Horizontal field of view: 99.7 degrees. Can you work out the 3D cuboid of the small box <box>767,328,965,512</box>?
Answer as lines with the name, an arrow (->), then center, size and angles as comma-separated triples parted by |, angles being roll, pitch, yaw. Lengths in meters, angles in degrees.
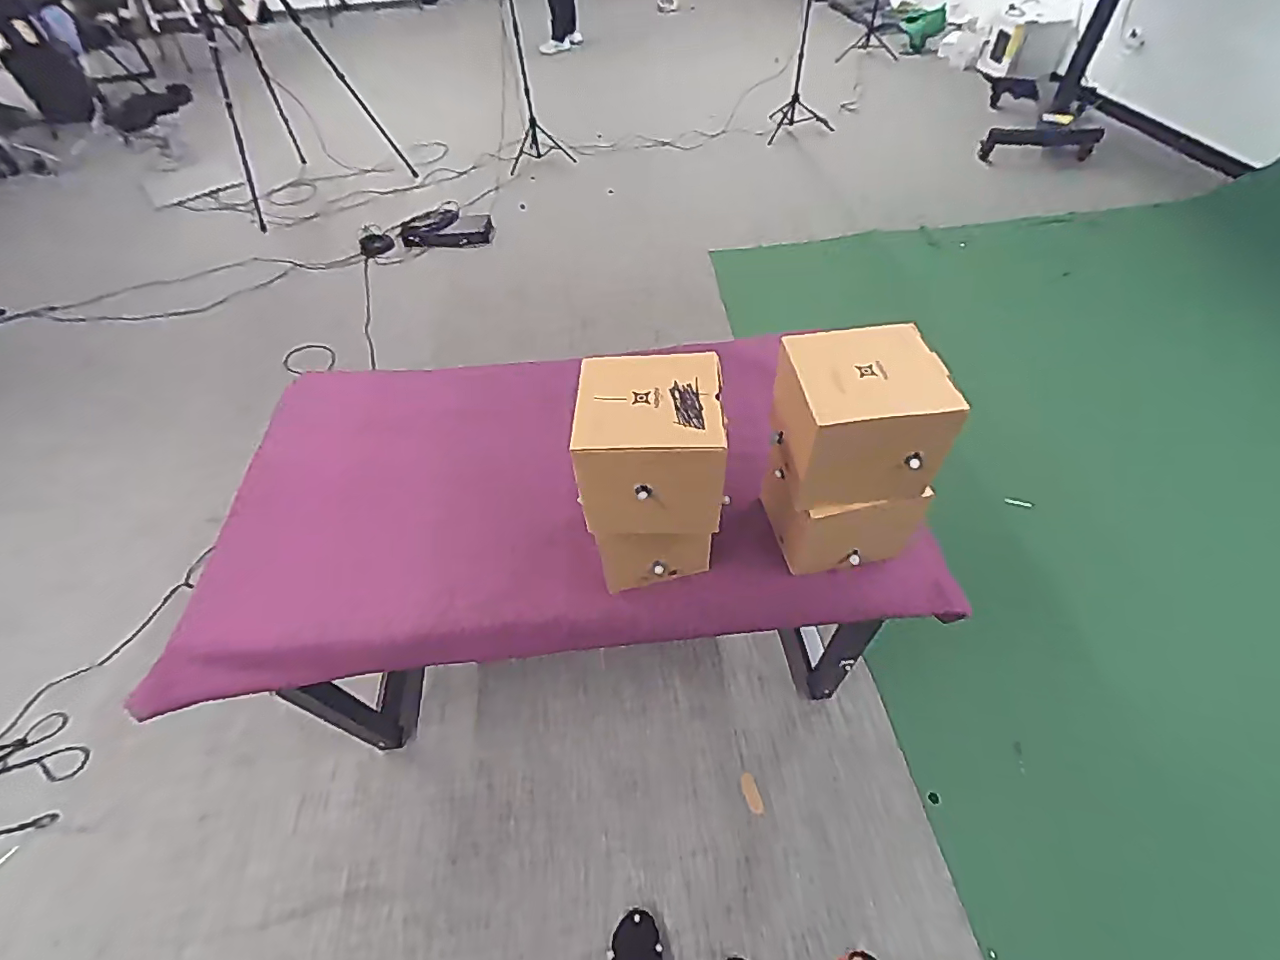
small box -> 0.278, -0.075, 0.714 | 0.179, 0.176, 0.168 | -6, 51, 1

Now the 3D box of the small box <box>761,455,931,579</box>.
small box -> 0.301, 0.033, 0.836 | 0.179, 0.176, 0.168 | -10, 51, -3

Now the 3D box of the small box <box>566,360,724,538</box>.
small box -> 0.013, -0.036, 0.703 | 0.179, 0.176, 0.168 | -2, 50, 5

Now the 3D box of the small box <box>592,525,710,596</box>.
small box -> 0.004, 0.053, 0.844 | 0.168, 0.176, 0.179 | -12, 50, -5
